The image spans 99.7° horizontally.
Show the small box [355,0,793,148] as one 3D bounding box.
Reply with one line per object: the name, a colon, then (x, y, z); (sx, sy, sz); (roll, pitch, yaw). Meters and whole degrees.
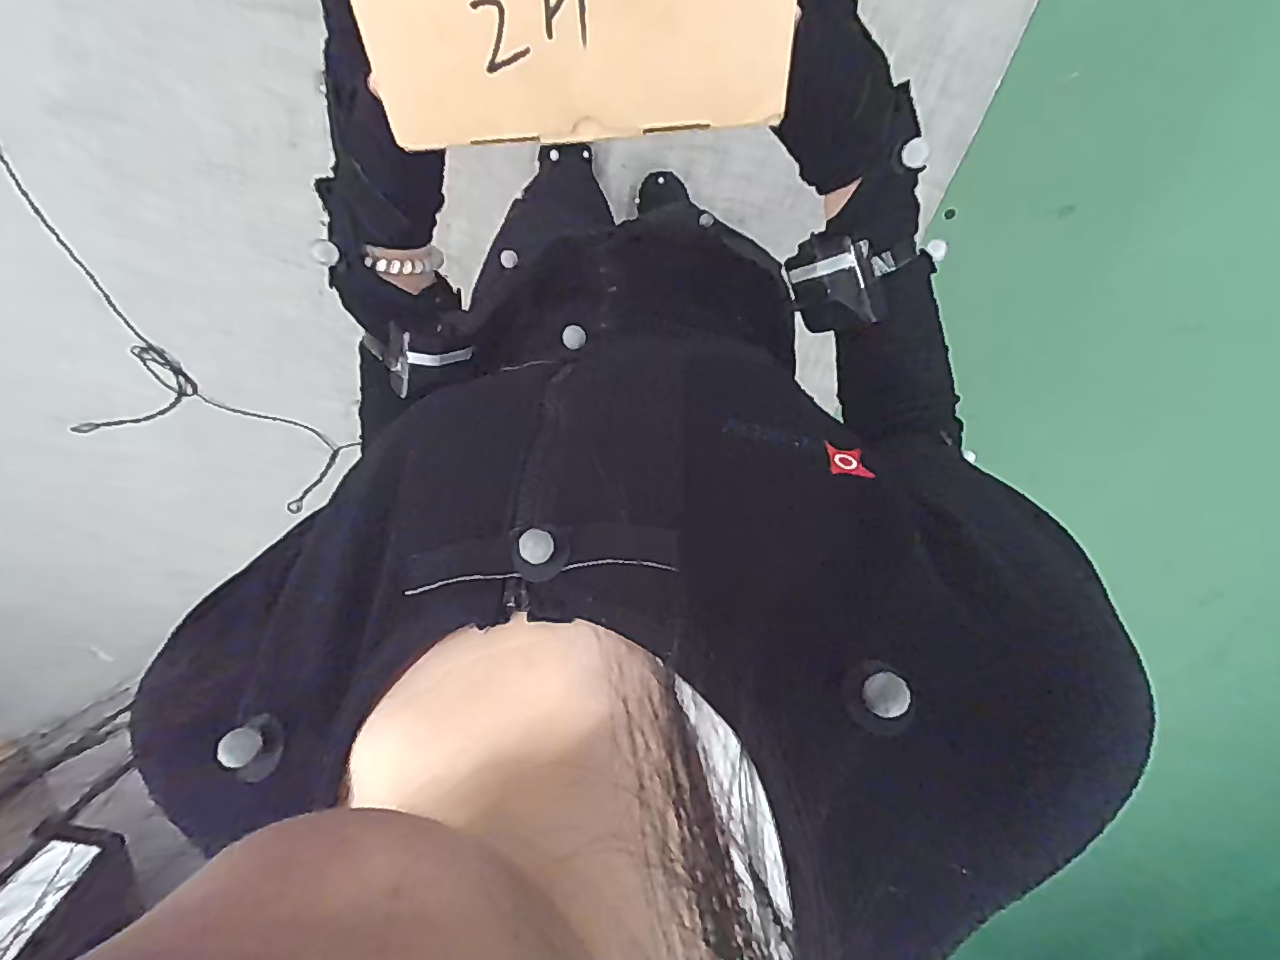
small box: (-0.030, -0.264, 0.234); (0.168, 0.176, 0.179); (-4, 132, 0)
